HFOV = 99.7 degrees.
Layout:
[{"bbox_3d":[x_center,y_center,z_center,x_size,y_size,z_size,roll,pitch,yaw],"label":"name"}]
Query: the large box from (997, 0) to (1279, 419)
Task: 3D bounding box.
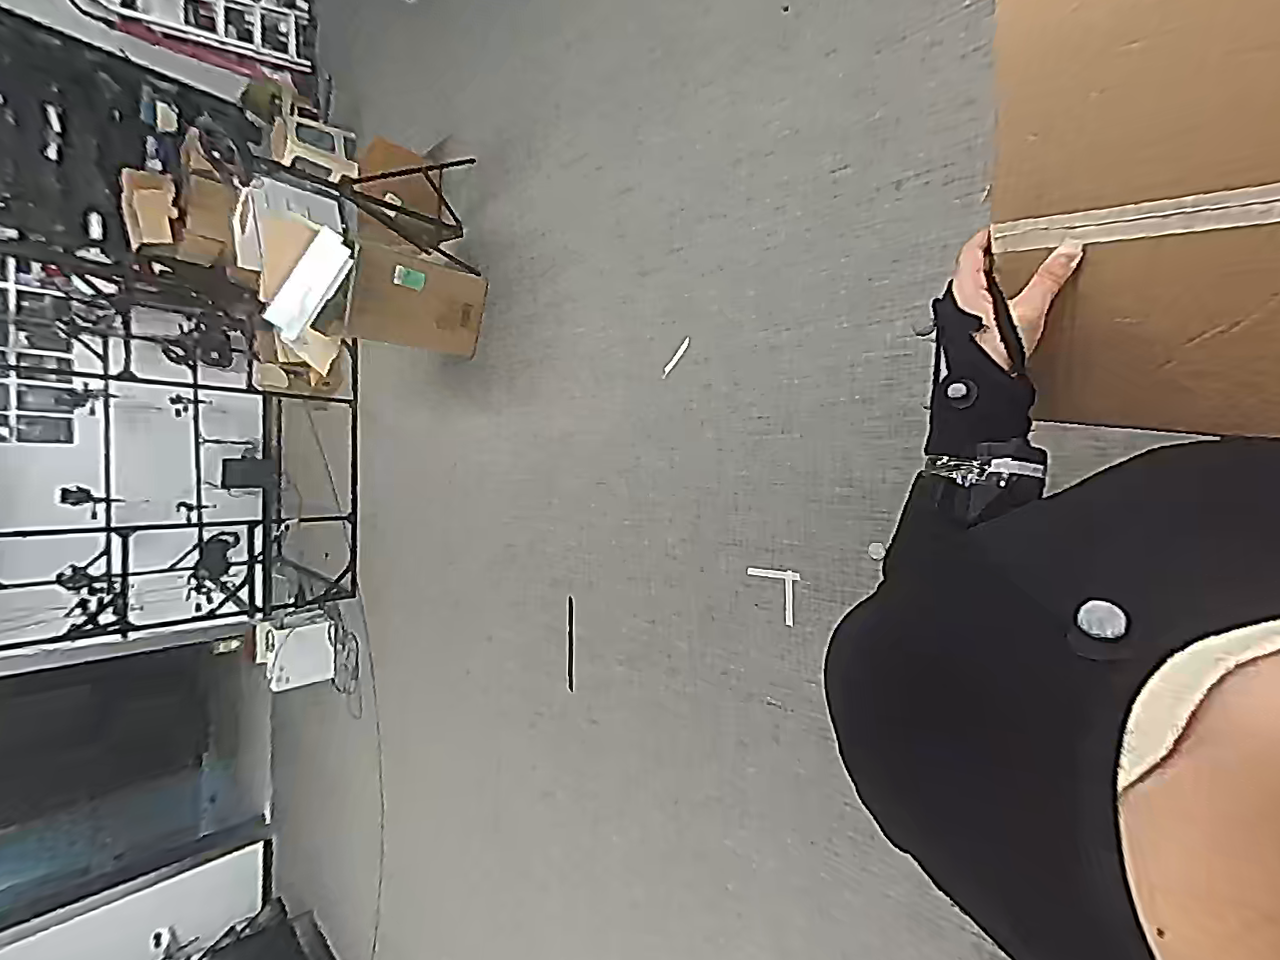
[{"bbox_3d":[0.502,-0.243,0.336,0.408,0.320,0.320,13,136,46],"label":"large box"}]
